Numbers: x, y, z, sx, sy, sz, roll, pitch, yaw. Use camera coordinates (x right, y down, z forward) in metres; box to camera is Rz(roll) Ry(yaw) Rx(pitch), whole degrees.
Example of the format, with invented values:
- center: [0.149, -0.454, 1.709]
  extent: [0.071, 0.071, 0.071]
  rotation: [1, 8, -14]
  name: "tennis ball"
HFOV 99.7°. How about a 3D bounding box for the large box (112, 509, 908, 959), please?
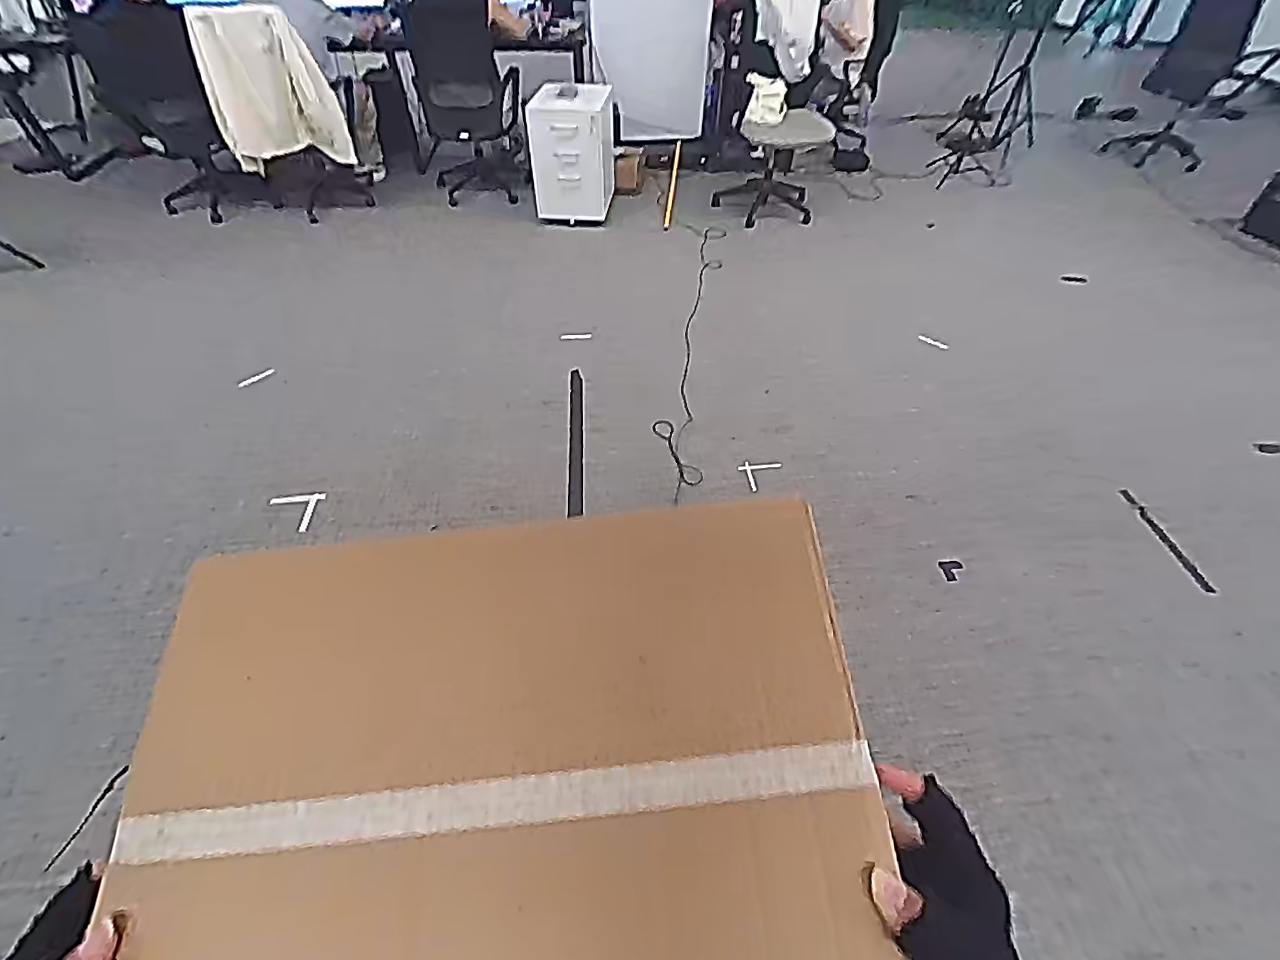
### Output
- center: [-0.066, 0.242, 0.433]
  extent: [0.408, 0.320, 0.320]
  rotation: [-6, 63, 1]
  name: "large box"
